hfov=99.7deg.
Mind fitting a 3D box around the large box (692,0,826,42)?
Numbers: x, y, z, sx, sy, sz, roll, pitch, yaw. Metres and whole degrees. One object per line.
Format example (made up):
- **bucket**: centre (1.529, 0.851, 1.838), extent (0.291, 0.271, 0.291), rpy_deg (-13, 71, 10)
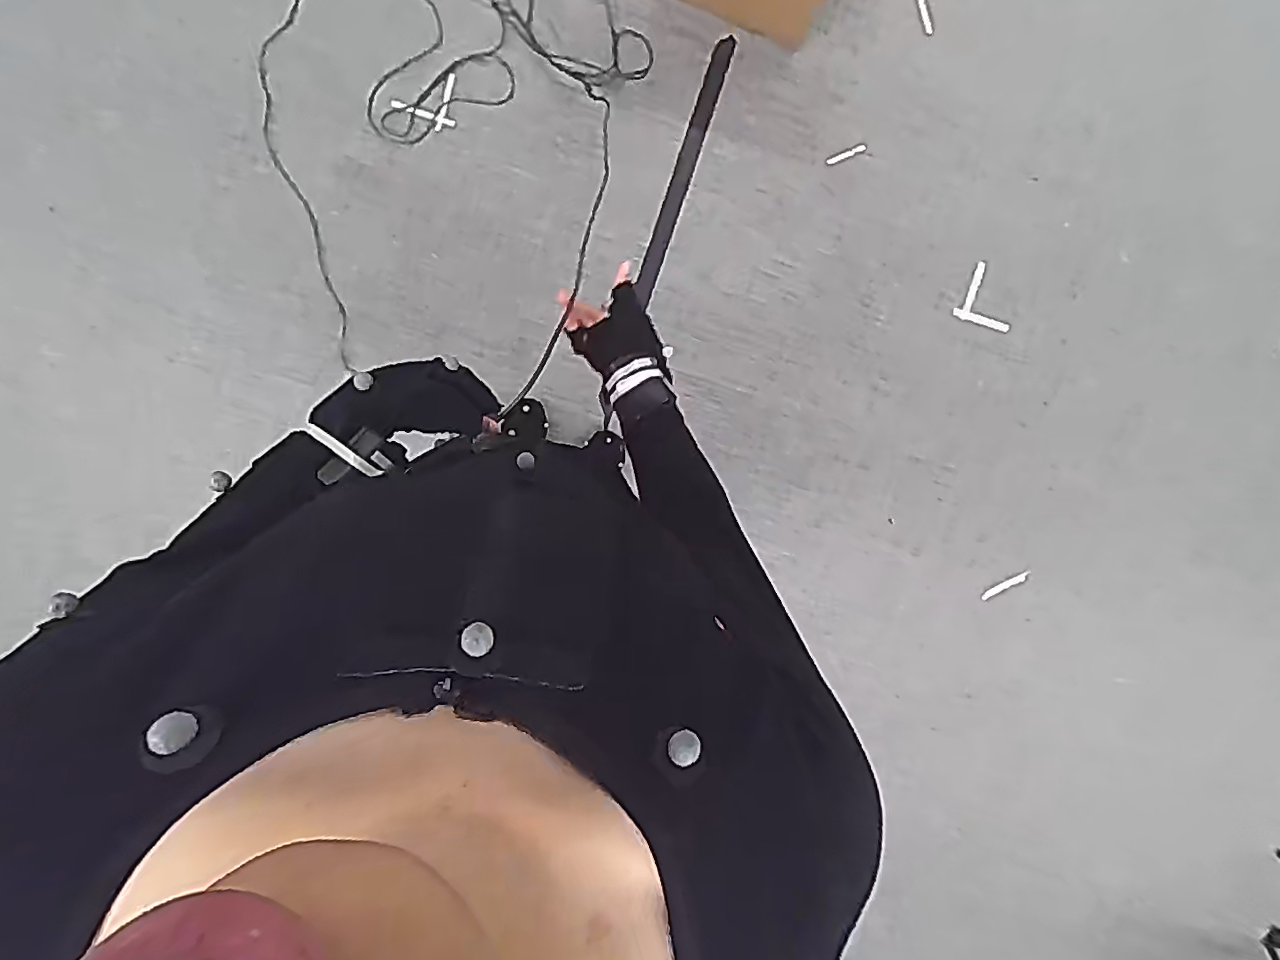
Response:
- **large box**: centre (0.274, -1.276, 1.181), extent (0.408, 0.320, 0.320), rpy_deg (18, 97, -7)
